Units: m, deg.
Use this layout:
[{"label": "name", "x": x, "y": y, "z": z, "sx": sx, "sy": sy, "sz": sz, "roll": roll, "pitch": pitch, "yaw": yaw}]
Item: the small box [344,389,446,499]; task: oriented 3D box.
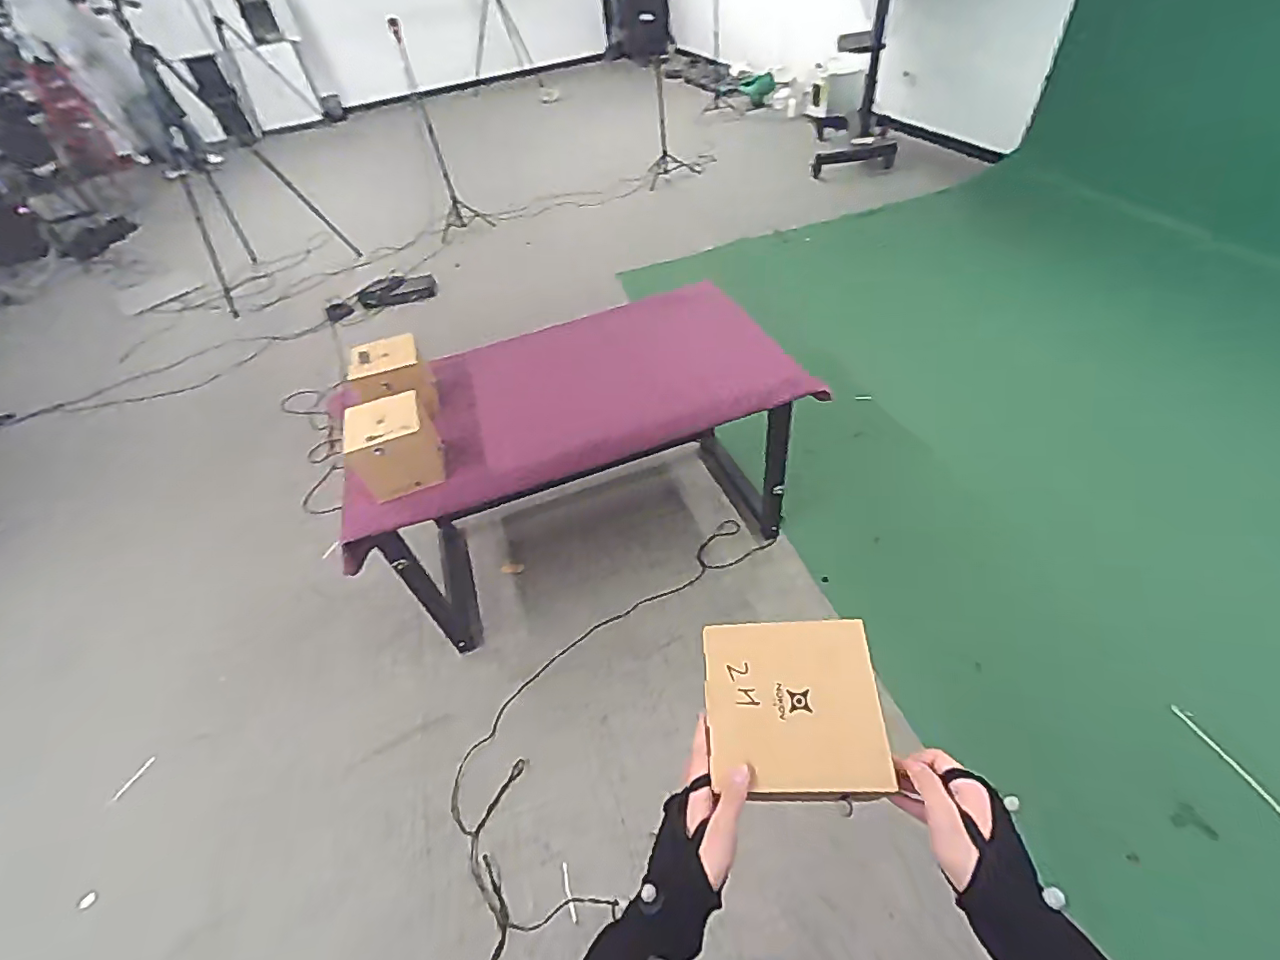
[{"label": "small box", "x": -0.579, "y": -0.085, "z": 1.289, "sx": 0.168, "sy": 0.176, "sz": 0.179, "roll": -20, "pitch": 46, "yaw": -9}]

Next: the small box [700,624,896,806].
[{"label": "small box", "x": 0.163, "y": 0.270, "z": 0.613, "sx": 0.179, "sy": 0.176, "sz": 0.168, "roll": -5, "pitch": 57, "yaw": 9}]

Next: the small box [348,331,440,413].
[{"label": "small box", "x": -0.670, "y": -0.278, "z": 1.487, "sx": 0.179, "sy": 0.176, "sz": 0.168, "roll": -17, "pitch": 48, "yaw": -9}]
